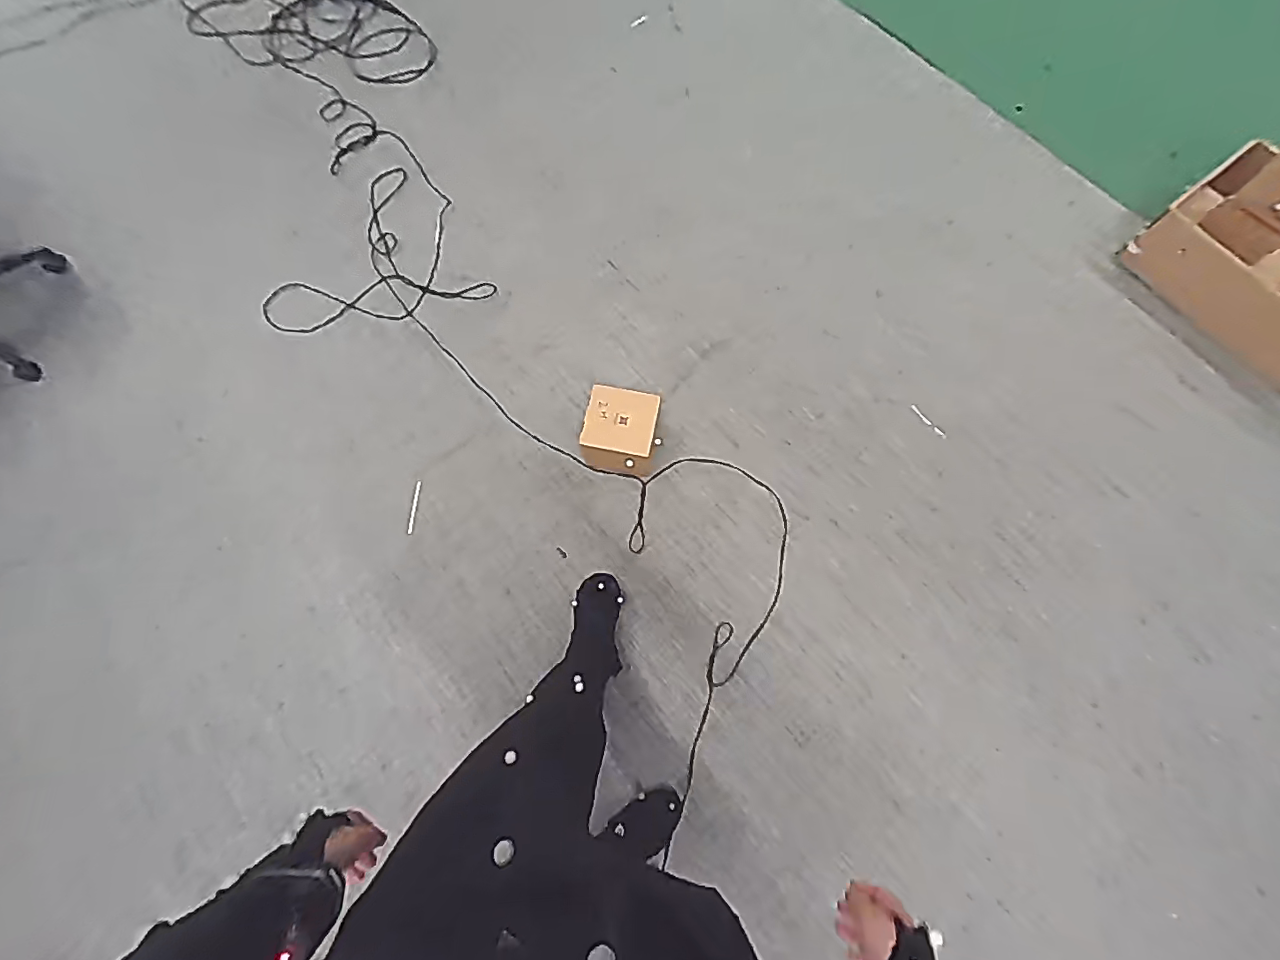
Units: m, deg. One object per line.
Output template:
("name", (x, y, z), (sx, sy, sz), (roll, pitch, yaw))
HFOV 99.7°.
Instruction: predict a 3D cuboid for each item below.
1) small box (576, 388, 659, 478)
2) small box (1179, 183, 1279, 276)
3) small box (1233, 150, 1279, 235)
("small box", (-0.052, -0.113, 1.393), (0.179, 0.176, 0.168), (11, 73, 5))
("small box", (1.656, -0.702, 1.478), (0.179, 0.176, 0.168), (-42, 77, -9))
("small box", (1.637, -0.746, 1.319), (0.179, 0.176, 0.168), (-44, 78, -8))
